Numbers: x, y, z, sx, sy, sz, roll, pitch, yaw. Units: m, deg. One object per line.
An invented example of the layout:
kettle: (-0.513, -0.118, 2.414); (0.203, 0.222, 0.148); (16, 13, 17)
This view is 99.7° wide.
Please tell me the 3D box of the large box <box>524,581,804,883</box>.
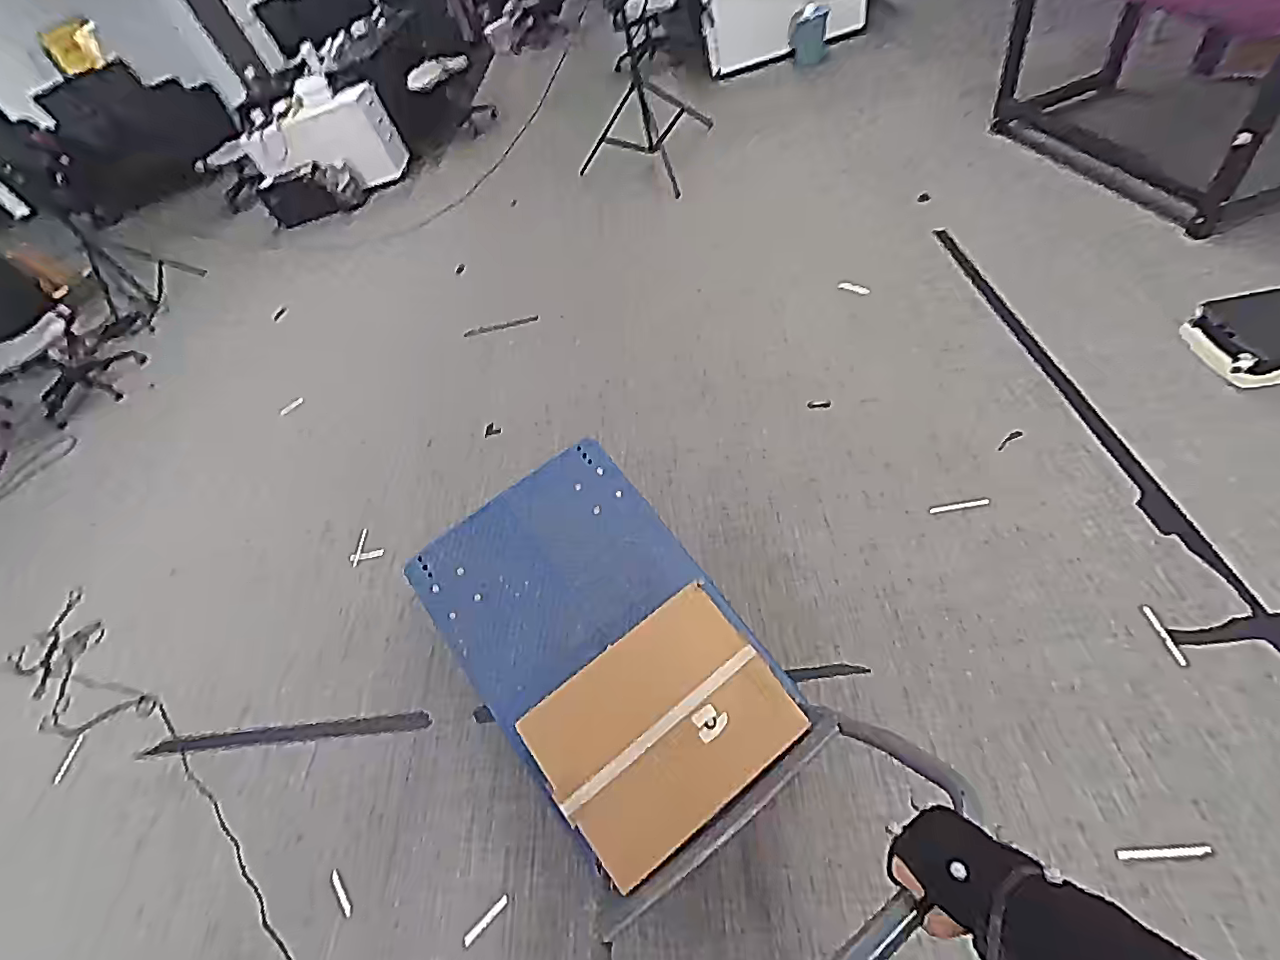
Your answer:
large box: (0.042, 0.468, 1.077); (0.408, 0.320, 0.320); (-37, 75, -12)
